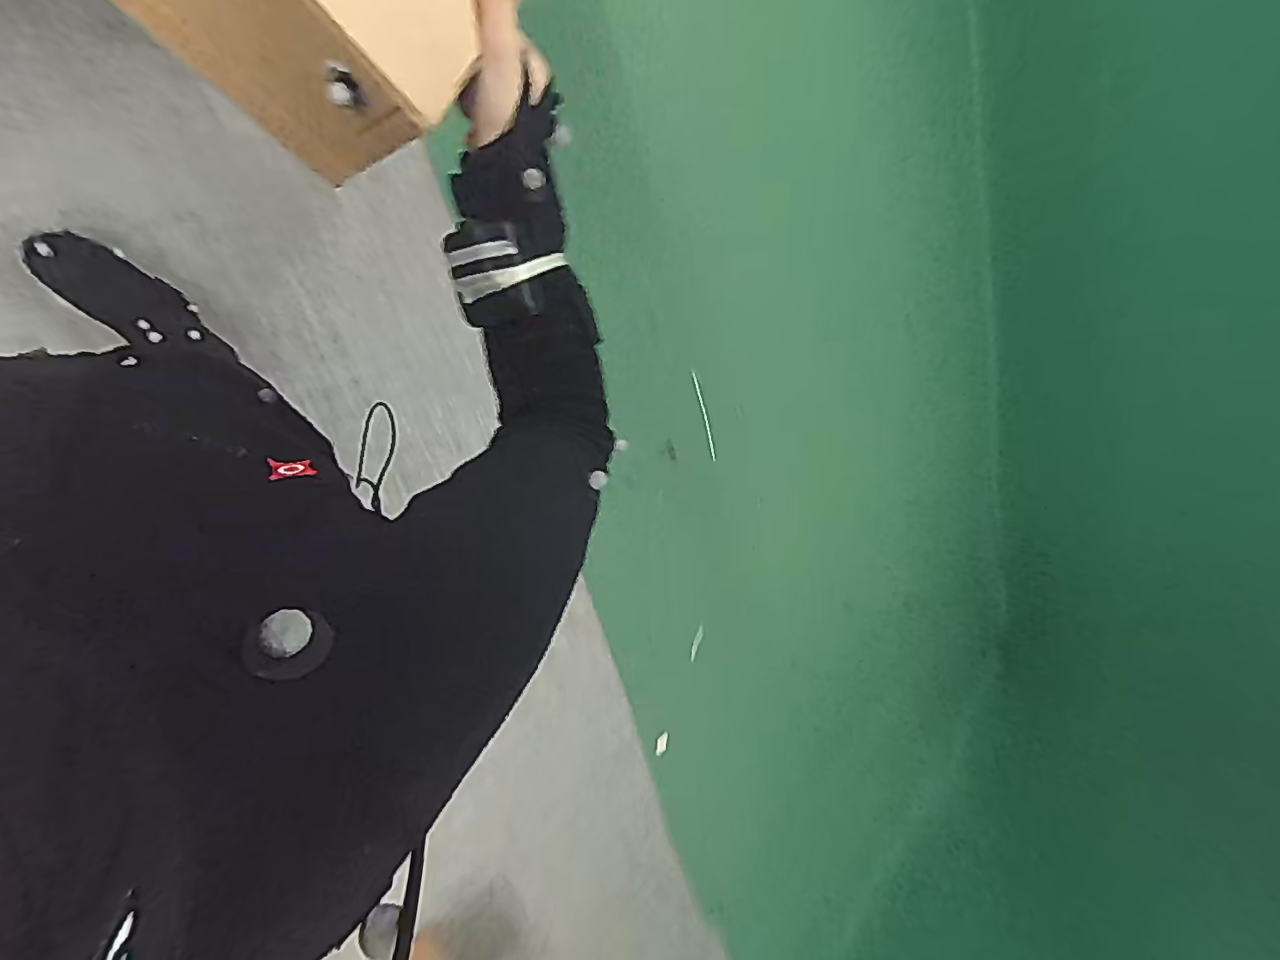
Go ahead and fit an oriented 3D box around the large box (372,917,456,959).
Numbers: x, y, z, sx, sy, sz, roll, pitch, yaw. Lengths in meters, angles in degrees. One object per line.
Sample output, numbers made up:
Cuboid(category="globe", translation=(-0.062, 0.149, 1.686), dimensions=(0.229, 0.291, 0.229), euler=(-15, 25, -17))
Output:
Cuboid(category="large box", translation=(-0.595, 1.401, 1.289), dimensions=(0.408, 0.320, 0.320), euler=(-30, 114, -31))
